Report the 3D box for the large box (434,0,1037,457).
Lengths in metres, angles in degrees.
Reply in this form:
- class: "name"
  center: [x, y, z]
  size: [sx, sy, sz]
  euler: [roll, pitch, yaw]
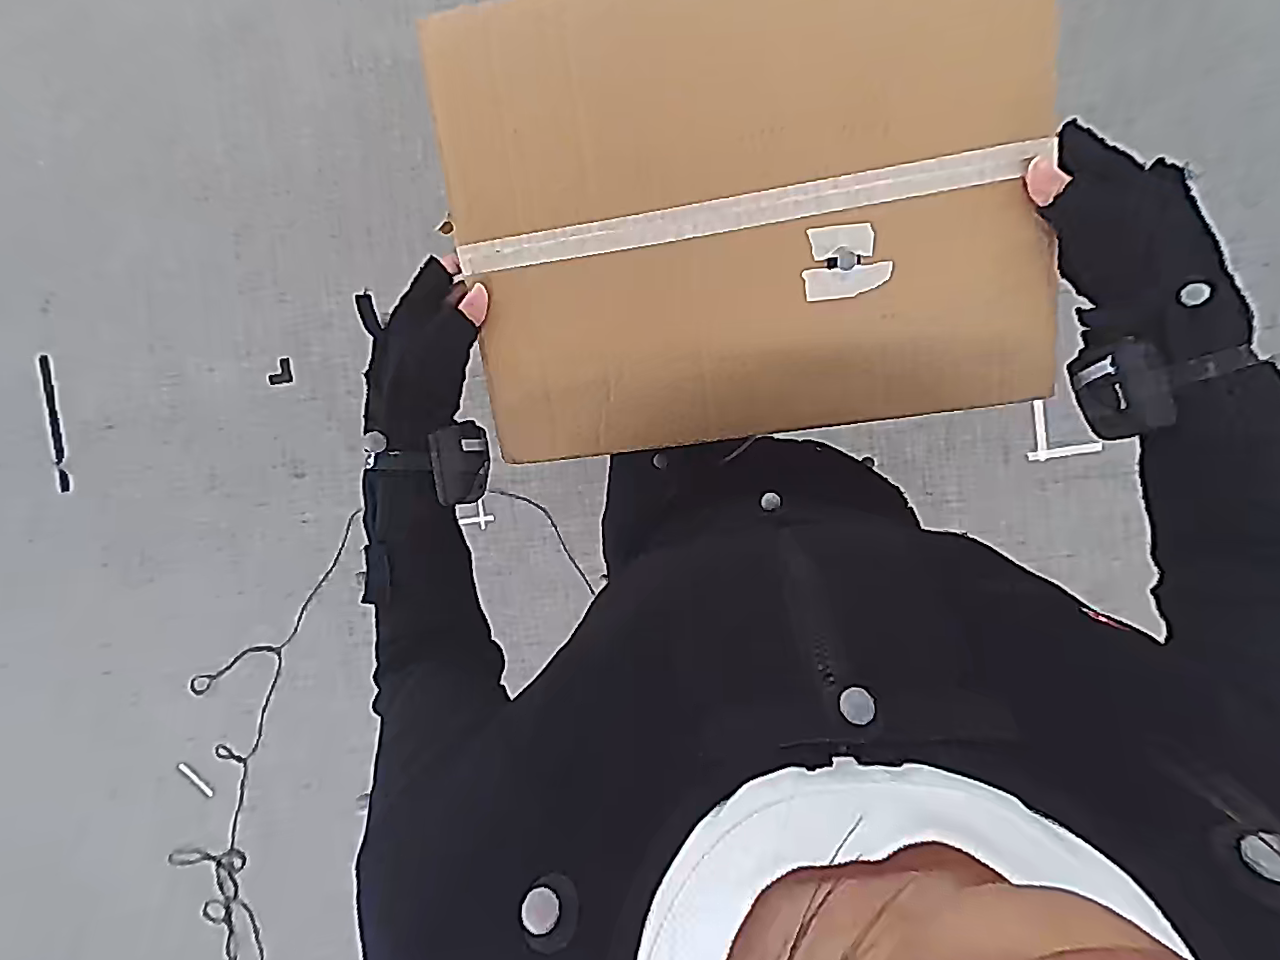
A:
- class: "large box"
  center: [0.082, -0.223, 0.533]
  size: [0.408, 0.320, 0.320]
  euler: [-8, 102, 7]
